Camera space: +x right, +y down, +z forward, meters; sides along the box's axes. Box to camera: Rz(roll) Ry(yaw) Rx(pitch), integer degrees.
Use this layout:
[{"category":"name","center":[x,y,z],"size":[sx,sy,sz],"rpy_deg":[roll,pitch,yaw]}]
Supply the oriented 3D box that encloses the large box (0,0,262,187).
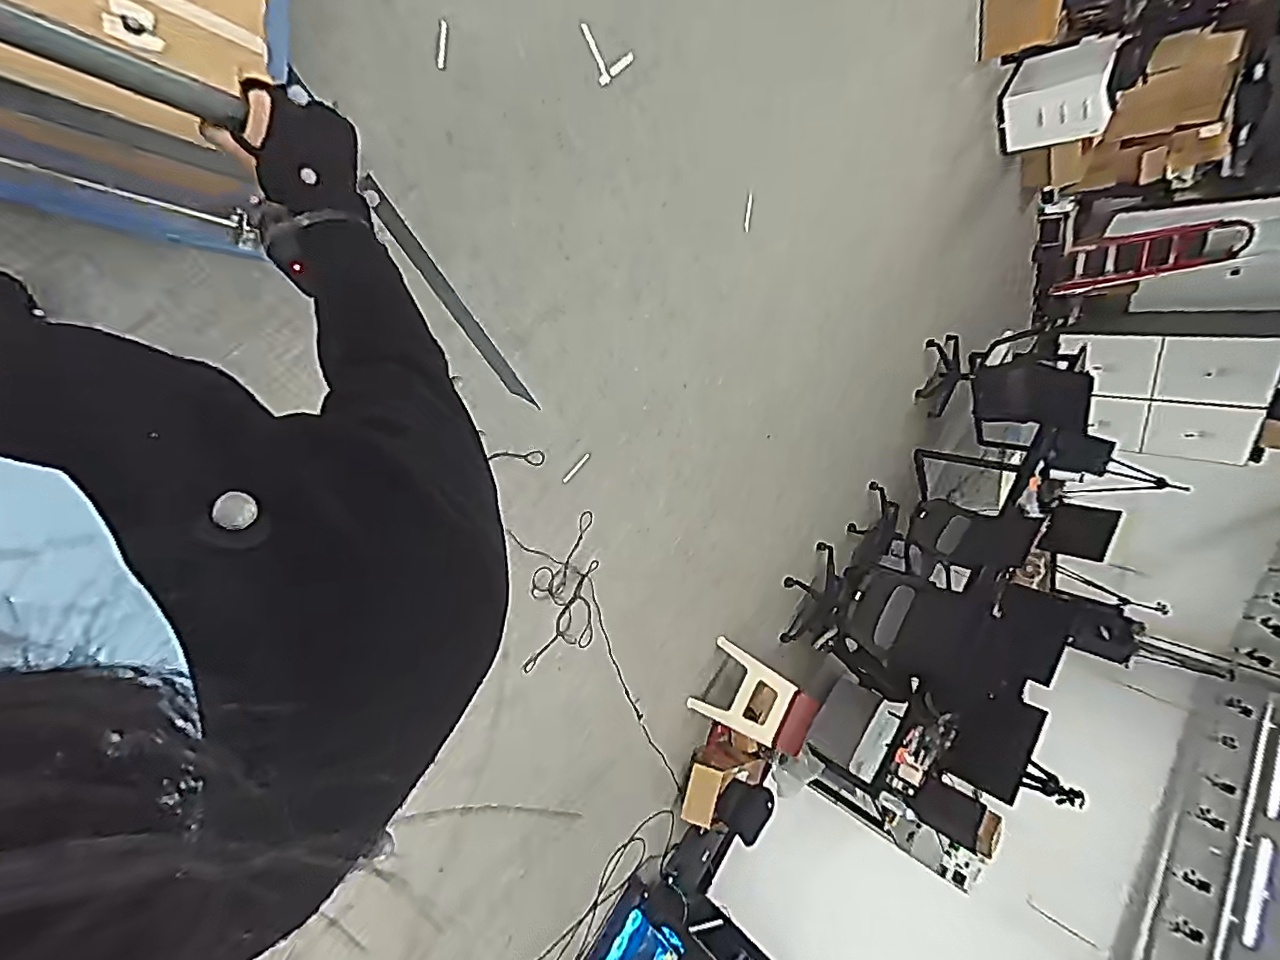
[{"category":"large box","center":[-0.787,-0.651,0.727],"size":[0.408,0.320,0.320],"rpy_deg":[1,102,-47]}]
